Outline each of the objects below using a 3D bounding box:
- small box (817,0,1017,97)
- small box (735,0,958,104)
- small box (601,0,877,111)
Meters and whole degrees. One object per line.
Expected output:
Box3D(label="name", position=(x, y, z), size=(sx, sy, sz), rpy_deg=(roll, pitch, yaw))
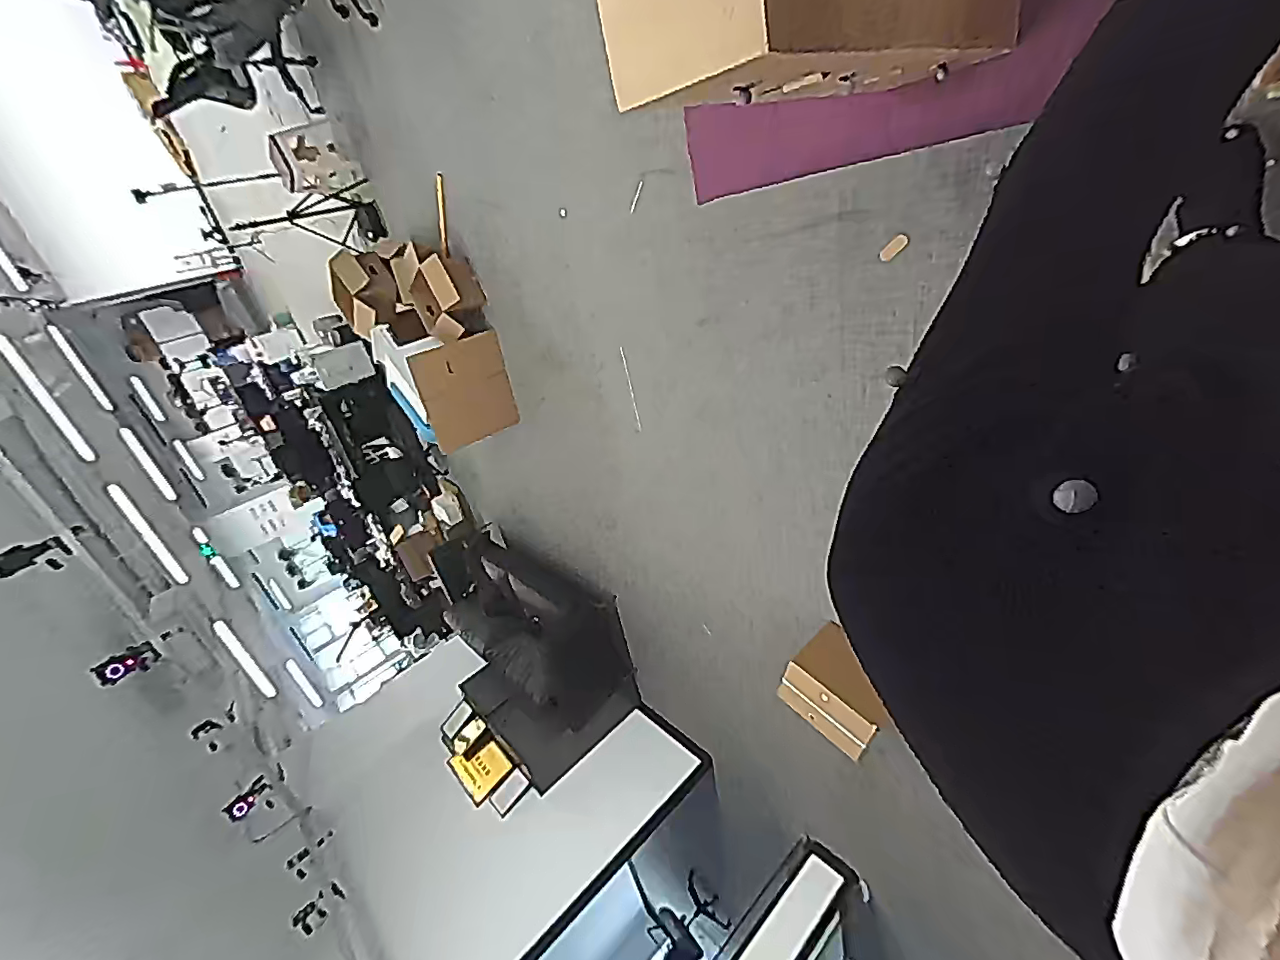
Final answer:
Box3D(label="small box", position=(0.316, -0.568, 0.619), size=(0.168, 0.176, 0.179), rpy_deg=(18, 129, 46))
Box3D(label="small box", position=(0.197, -0.499, 0.530), size=(0.168, 0.176, 0.179), rpy_deg=(17, 130, 46))
Box3D(label="small box", position=(0.079, -0.427, 0.439), size=(0.168, 0.176, 0.179), rpy_deg=(19, 130, 44))
